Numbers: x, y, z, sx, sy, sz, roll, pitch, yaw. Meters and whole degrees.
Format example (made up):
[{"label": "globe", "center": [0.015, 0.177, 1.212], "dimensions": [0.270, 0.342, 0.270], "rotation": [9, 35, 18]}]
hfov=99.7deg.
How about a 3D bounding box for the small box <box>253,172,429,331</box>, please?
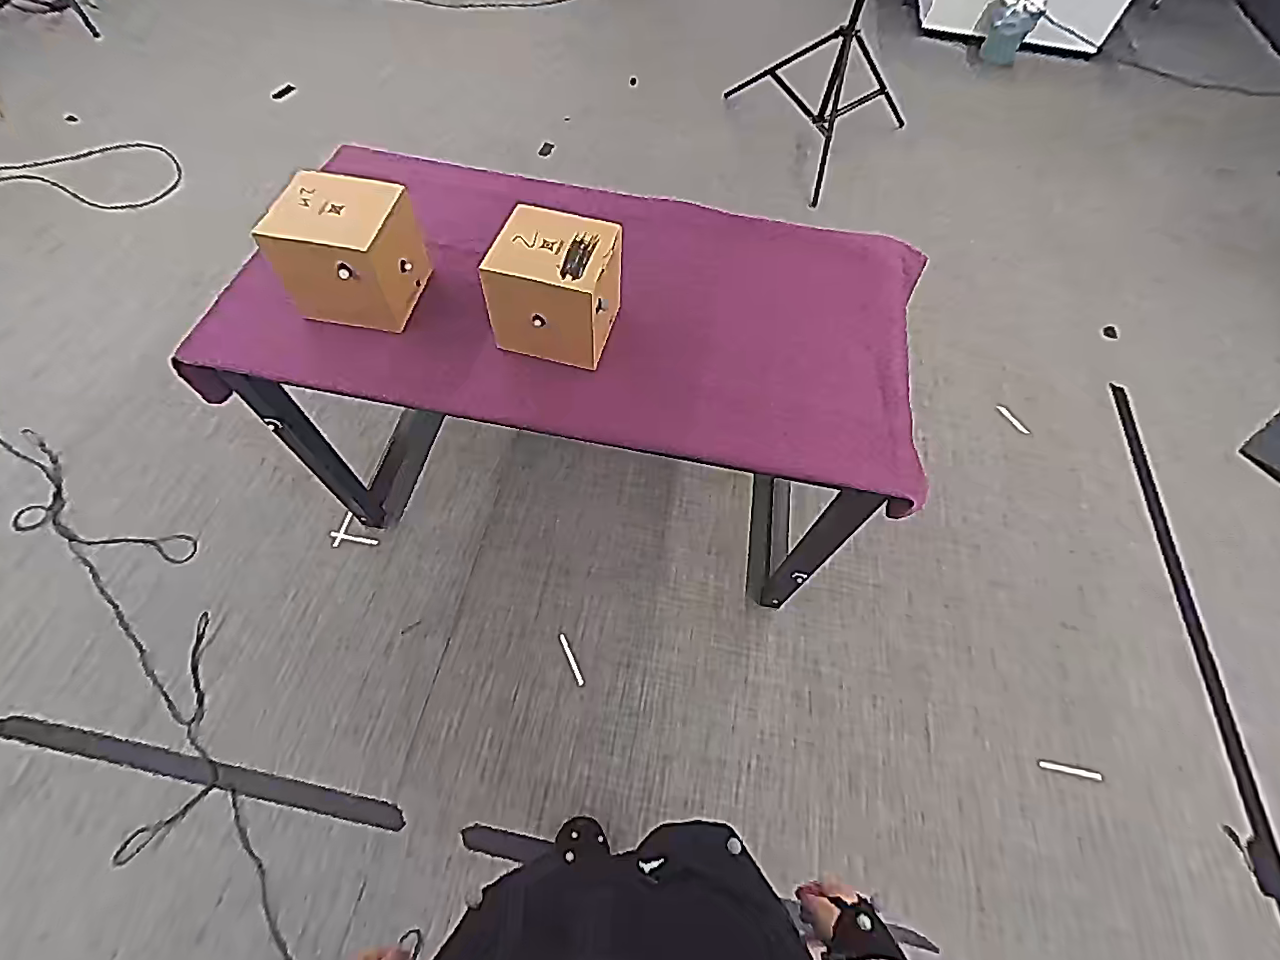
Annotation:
[{"label": "small box", "center": [-0.475, -0.372, 0.898], "dimensions": [0.179, 0.176, 0.168], "rotation": [9, 59, 1]}]
